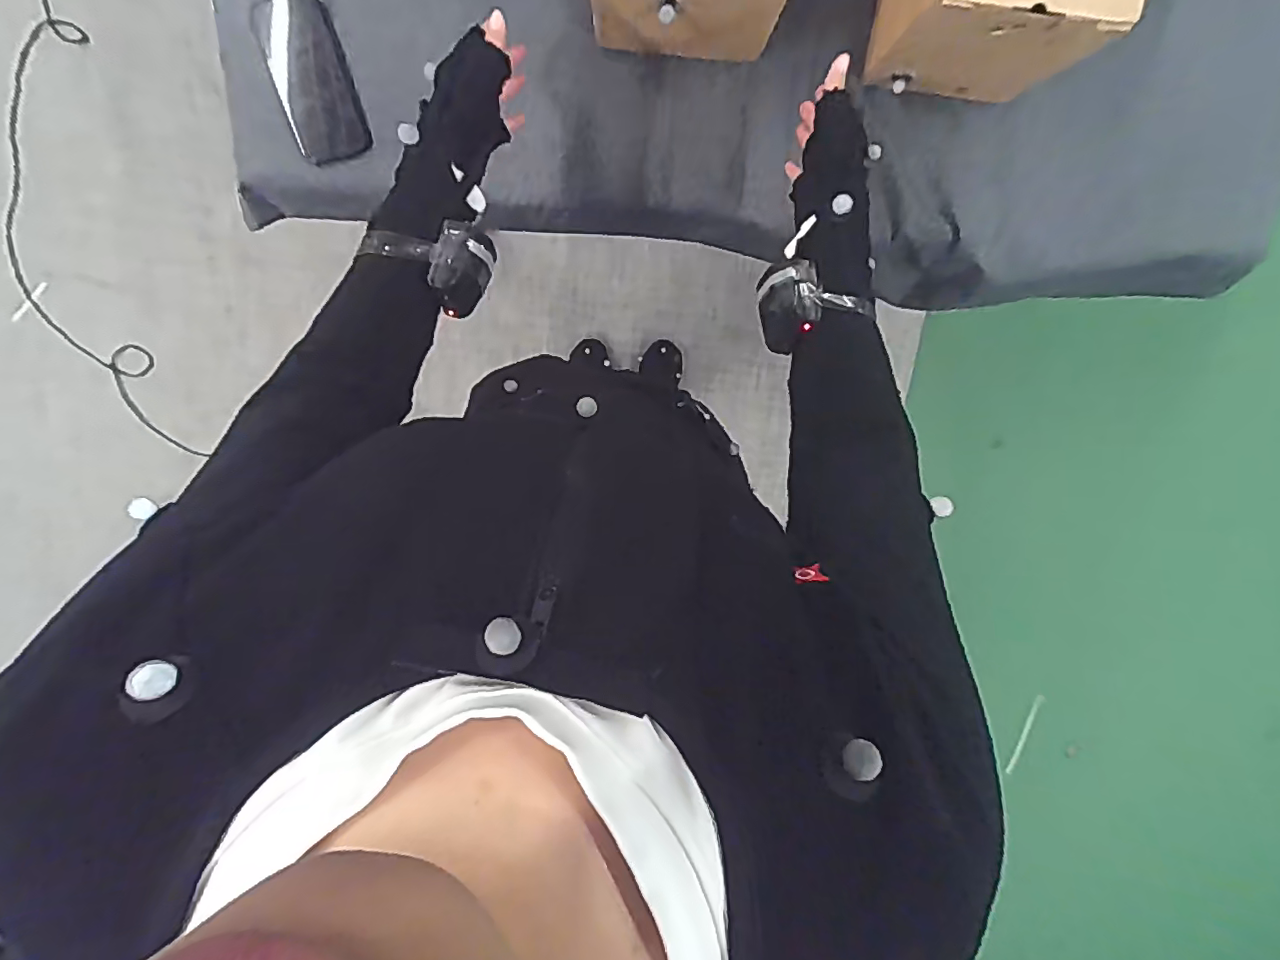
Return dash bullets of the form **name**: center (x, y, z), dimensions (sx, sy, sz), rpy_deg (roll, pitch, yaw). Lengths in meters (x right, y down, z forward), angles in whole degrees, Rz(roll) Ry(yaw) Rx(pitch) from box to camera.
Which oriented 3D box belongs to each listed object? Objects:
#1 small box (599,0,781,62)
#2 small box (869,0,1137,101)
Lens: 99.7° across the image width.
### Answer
- **small box**: center (0.052, -0.515, 0.490), dimensions (0.179, 0.176, 0.168), rpy_deg (4, 106, -2)
- **small box**: center (0.336, -0.487, 0.502), dimensions (0.168, 0.176, 0.179), rpy_deg (6, 106, -3)
